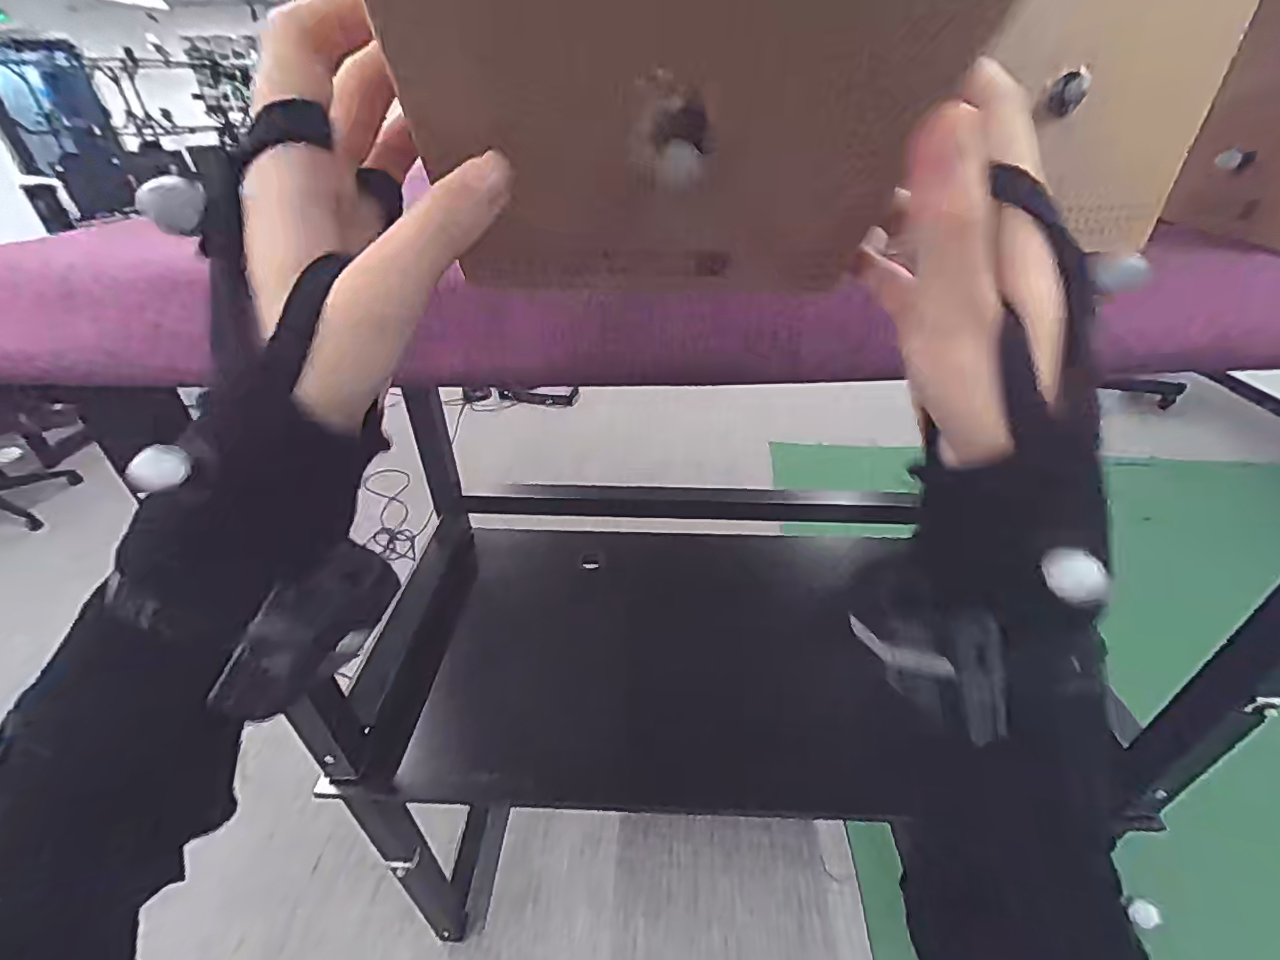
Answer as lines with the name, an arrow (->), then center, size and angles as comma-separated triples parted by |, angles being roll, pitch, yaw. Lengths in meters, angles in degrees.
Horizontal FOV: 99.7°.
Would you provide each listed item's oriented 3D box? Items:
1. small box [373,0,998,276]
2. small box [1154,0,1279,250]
small box -> 0.012, -0.189, 0.181 | 0.168, 0.176, 0.179 | 0, 76, -4
small box -> 0.533, -0.262, 0.371 | 0.179, 0.176, 0.168 | 1, 35, 4
